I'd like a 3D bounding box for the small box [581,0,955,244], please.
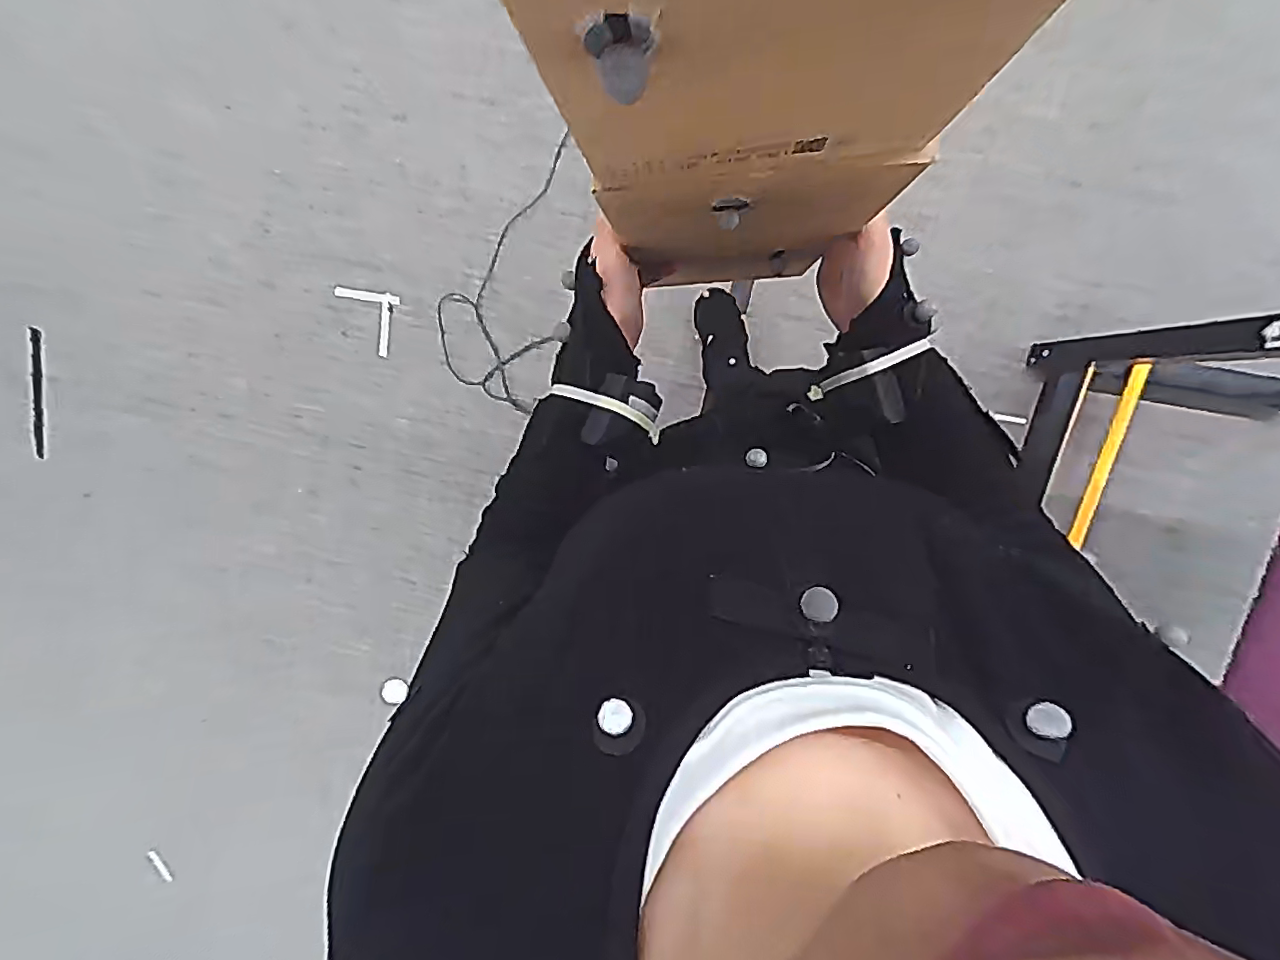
[{"bbox_3d":[0.065,-0.254,0.330,0.179,0.176,0.168,-2,101,6],"label":"small box"}]
